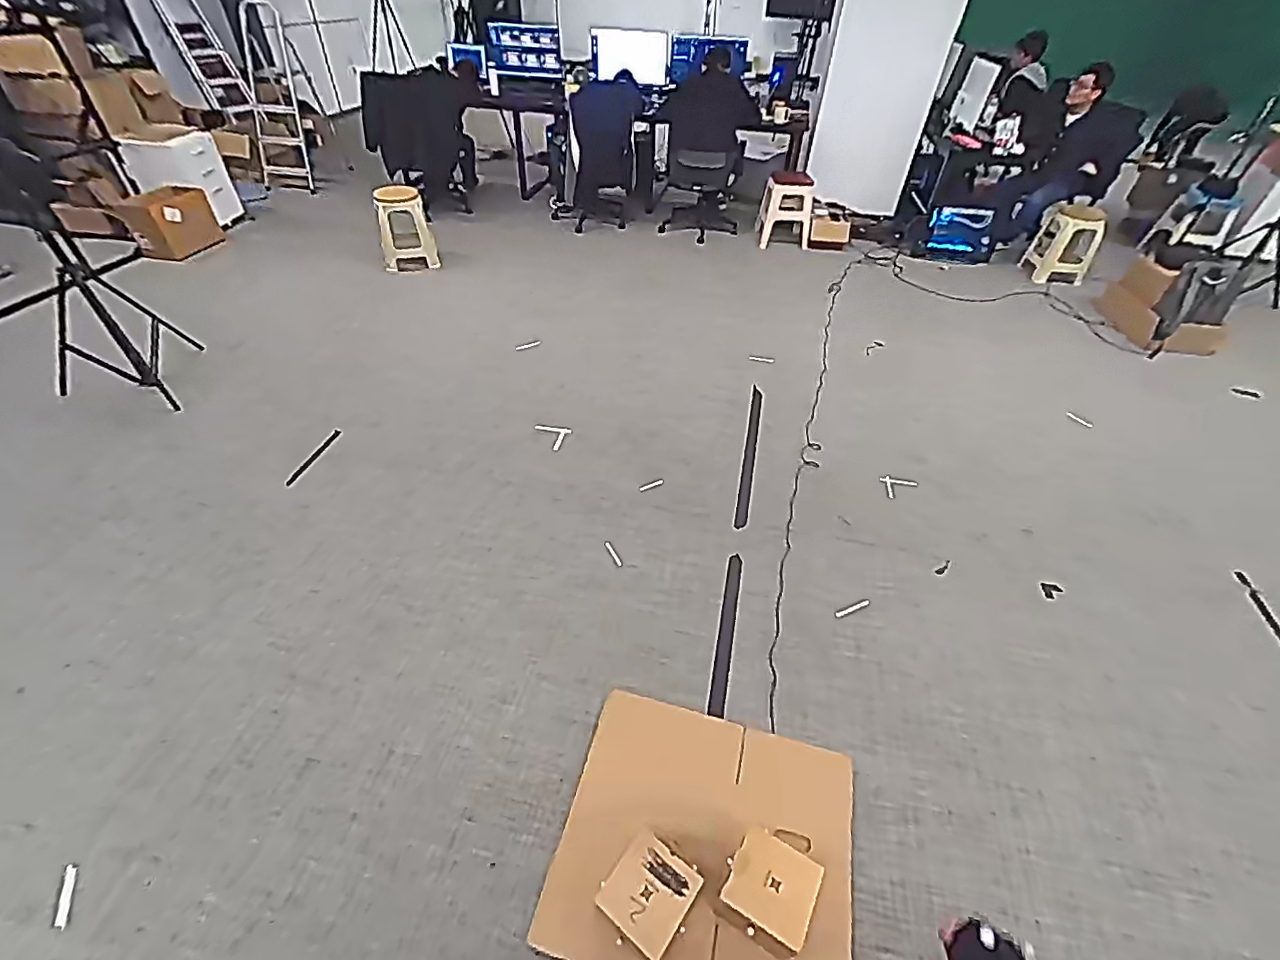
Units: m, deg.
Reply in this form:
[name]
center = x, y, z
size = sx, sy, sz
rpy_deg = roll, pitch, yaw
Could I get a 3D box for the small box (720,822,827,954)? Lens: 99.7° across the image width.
[small box]
center = 0.294, 0.916, 1.211
size = 0.179, 0.176, 0.168
rpy_deg = 21, 49, 23
